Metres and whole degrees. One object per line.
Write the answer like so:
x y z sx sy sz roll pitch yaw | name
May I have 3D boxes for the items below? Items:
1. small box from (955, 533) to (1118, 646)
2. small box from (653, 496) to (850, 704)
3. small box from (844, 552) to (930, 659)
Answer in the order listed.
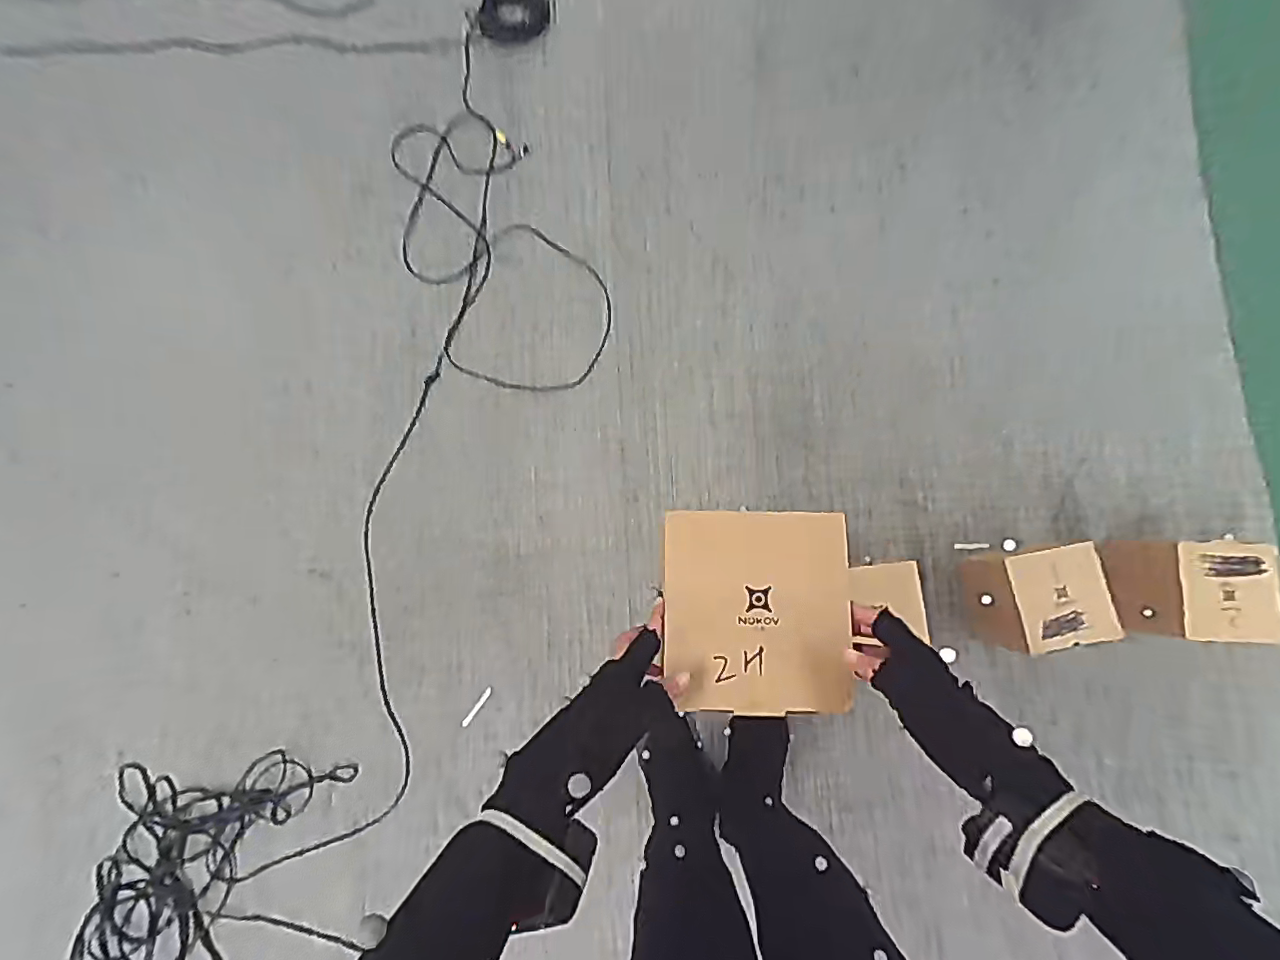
0.746 0.204 1.039 0.168 0.176 0.179 -11 81 1 | small box
0.098 0.116 0.547 0.168 0.176 0.179 0 80 2 | small box
0.430 0.238 1.052 0.168 0.176 0.179 -7 82 3 | small box
